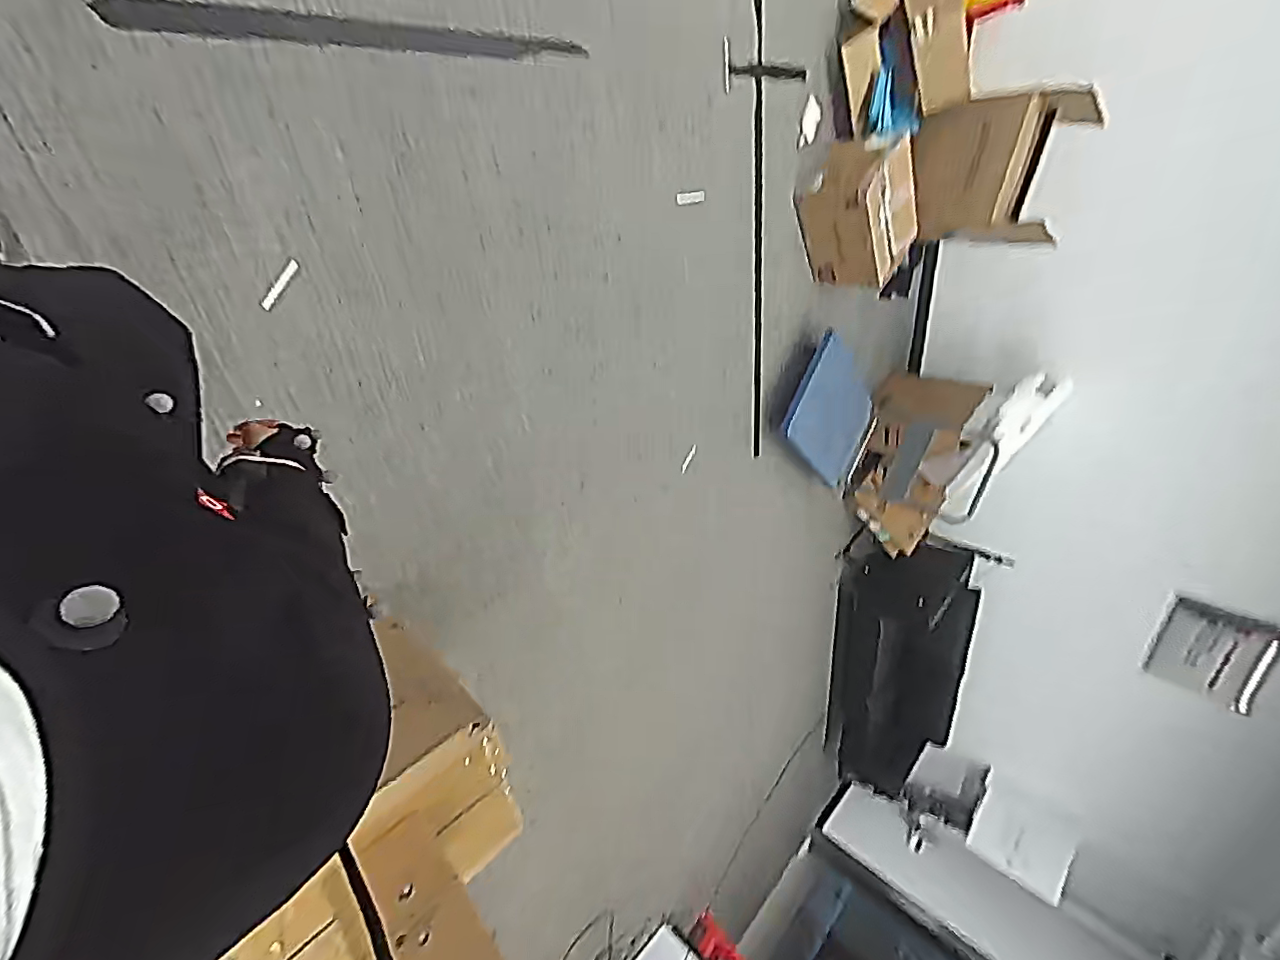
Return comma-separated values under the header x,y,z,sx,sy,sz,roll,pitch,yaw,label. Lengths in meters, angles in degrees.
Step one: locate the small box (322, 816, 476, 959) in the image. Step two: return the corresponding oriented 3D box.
x,y,z,sx,sy,sz,roll,pitch,yaw,label
-0.421,0.747,0.950,0.179,0.176,0.168,-27,124,-37,small box
